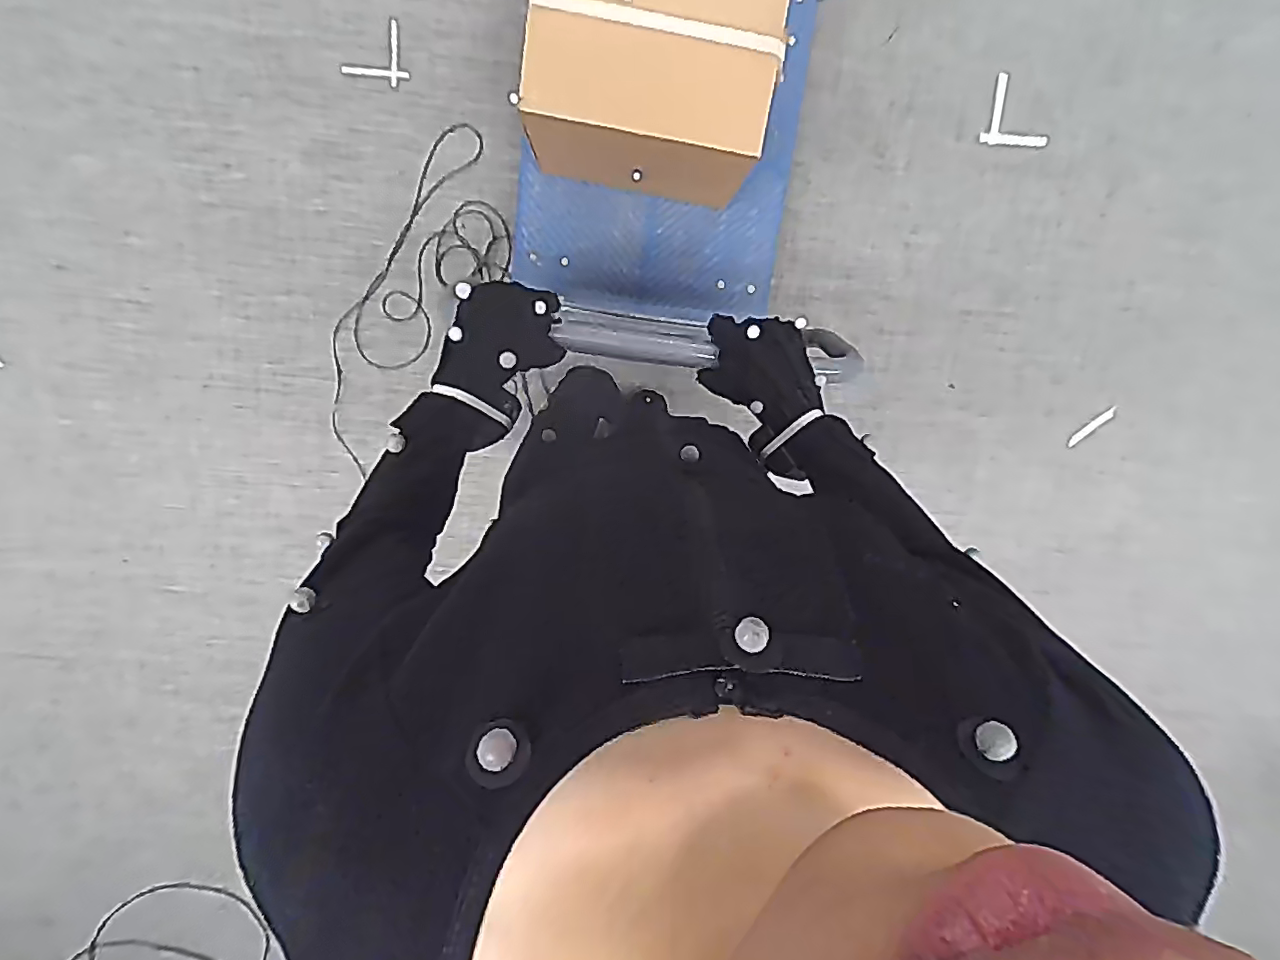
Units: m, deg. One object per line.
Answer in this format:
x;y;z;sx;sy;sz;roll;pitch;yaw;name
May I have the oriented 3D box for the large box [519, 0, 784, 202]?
0.019;-0.746;1.001;0.408;0.320;0.320;9;101;-3;large box
